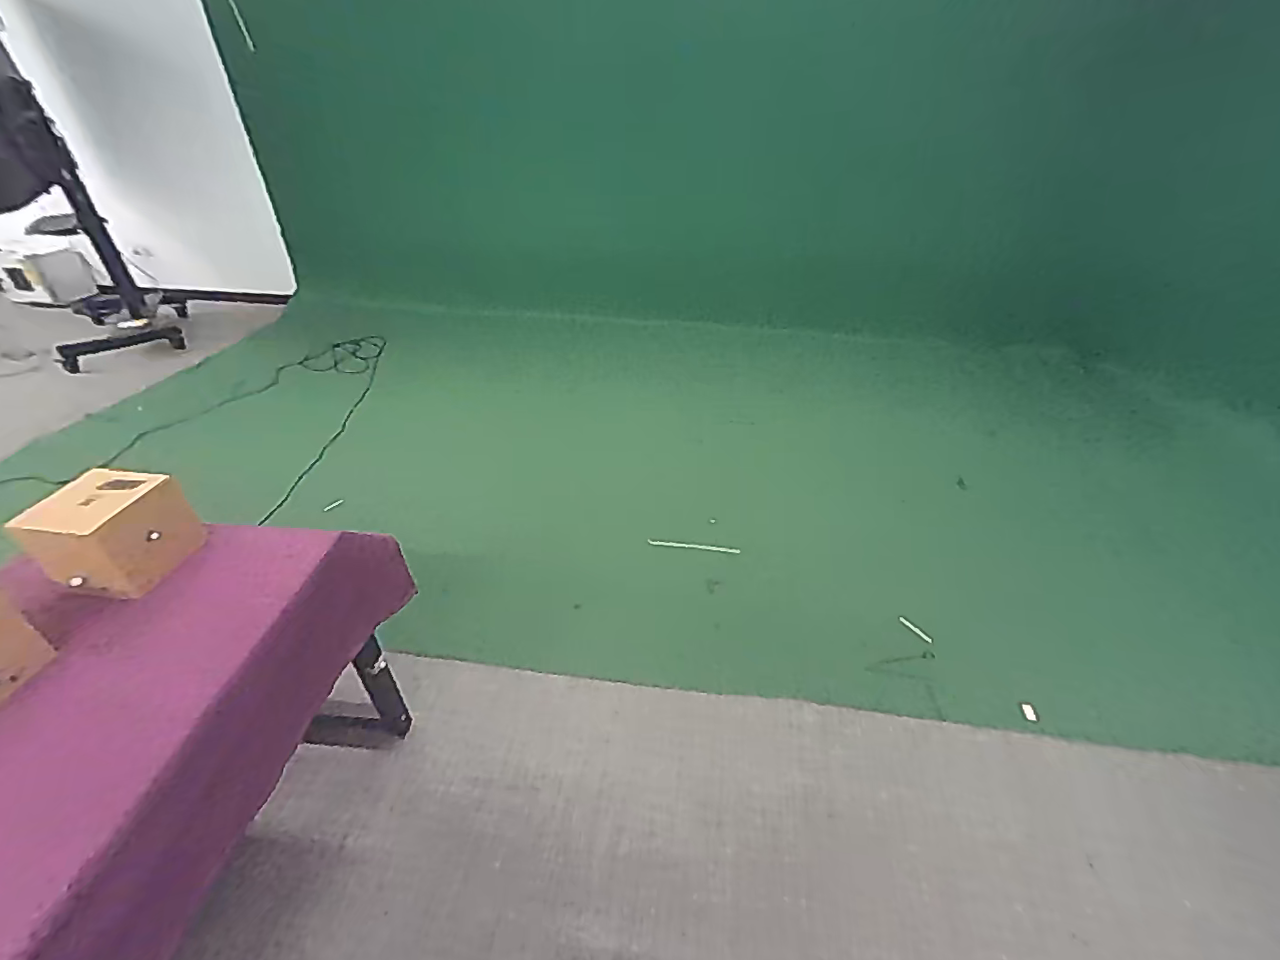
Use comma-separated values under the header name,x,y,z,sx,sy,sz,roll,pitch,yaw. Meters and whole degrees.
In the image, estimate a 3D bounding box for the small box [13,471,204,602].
name,x,y,z,sx,sy,sz,roll,pitch,yaw
small box,-0.993,0.106,1.037,0.168,0.176,0.179,5,38,5
